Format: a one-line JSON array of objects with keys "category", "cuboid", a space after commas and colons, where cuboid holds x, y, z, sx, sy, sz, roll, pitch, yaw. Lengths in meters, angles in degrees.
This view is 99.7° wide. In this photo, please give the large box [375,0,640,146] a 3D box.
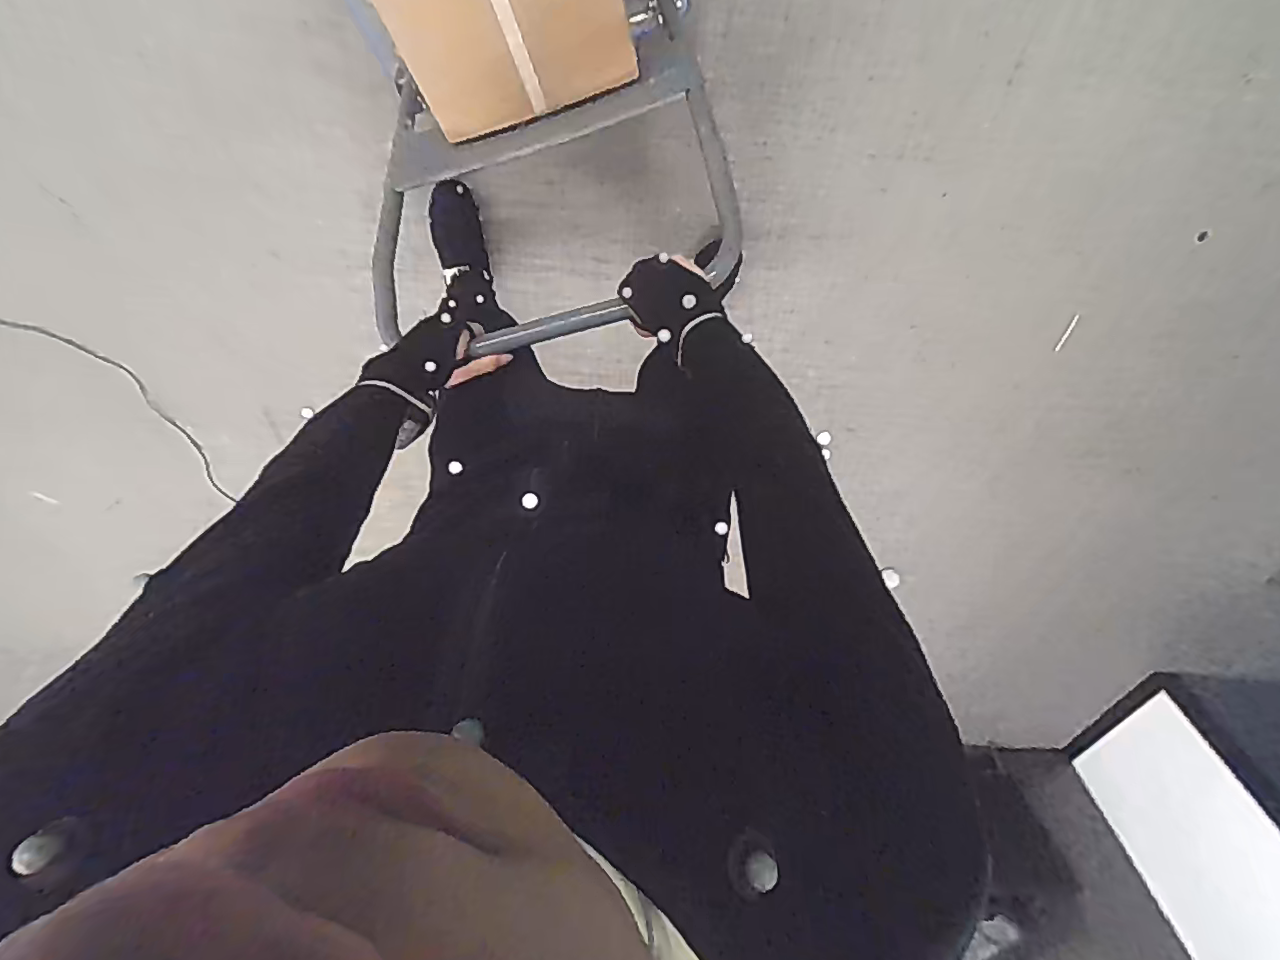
[{"category": "large box", "cuboid": [-0.208, -0.778, 0.742, 0.320, 0.320, 0.408, -13, 147, 9]}]
